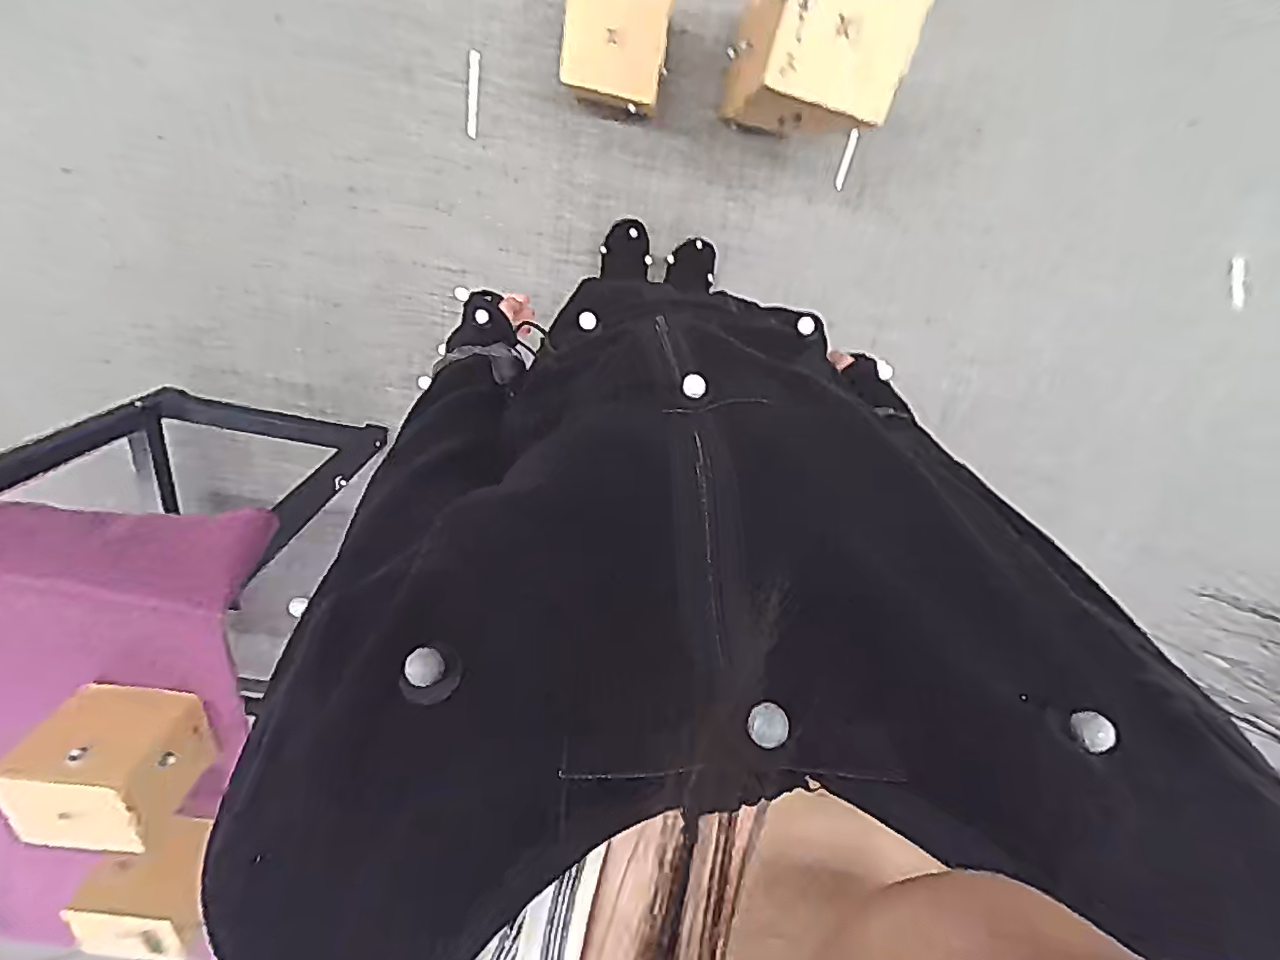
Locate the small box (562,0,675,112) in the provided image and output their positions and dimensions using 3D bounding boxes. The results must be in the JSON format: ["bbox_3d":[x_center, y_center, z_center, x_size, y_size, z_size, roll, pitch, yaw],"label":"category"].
[{"bbox_3d":[-0.041,-0.808,1.011,0.179,0.176,0.168,10,118,-6],"label":"small box"}]

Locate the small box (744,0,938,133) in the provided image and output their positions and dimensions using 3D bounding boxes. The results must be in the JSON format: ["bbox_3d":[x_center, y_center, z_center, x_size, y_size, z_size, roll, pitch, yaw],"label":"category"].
[{"bbox_3d":[0.265,-0.601,0.751,0.179,0.176,0.168,13,118,-9],"label":"small box"}]

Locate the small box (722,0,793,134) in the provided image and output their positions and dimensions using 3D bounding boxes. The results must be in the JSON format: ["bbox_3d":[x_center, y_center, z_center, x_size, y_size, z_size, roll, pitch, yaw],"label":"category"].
[{"bbox_3d":[0.261,-0.778,1.029,0.168,0.176,0.179,9,118,-6],"label":"small box"}]

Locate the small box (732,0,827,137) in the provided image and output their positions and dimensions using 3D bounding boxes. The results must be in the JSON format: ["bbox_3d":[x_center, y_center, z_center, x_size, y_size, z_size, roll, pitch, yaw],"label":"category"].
[{"bbox_3d":[0.264,-0.683,0.893,0.179,0.176,0.168,11,119,-7],"label":"small box"}]

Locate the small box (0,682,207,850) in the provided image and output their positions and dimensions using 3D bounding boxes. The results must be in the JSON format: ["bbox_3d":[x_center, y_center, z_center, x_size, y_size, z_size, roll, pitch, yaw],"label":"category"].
[{"bbox_3d":[-0.831,0.445,0.854,0.179,0.176,0.168,9,117,-5],"label":"small box"}]
